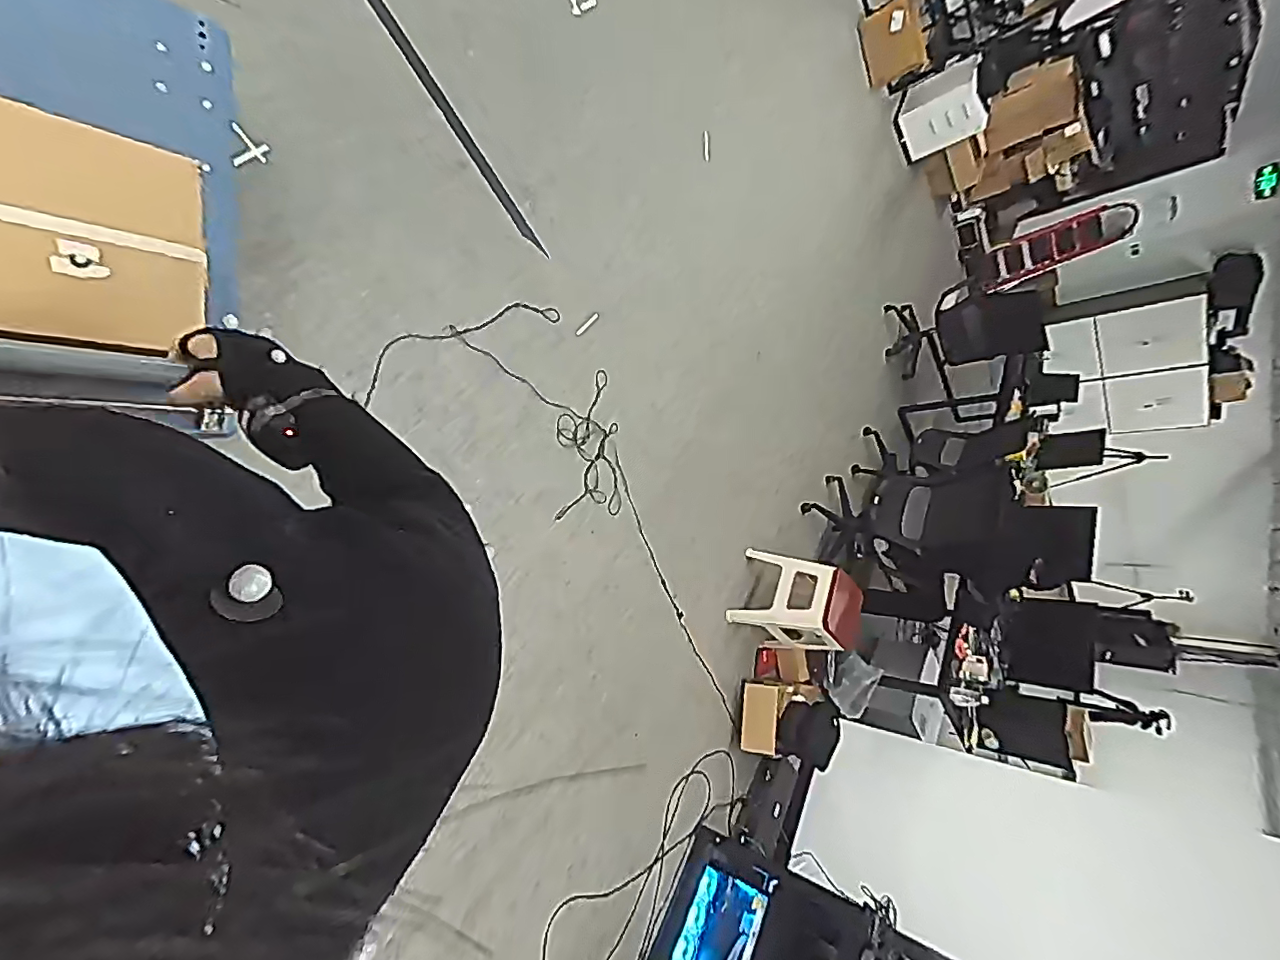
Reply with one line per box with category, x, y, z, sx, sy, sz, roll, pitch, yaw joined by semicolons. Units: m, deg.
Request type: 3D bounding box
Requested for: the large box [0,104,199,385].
large box;-0.948;-0.338;0.810;0.408;0.320;0.320;-1;89;-47
